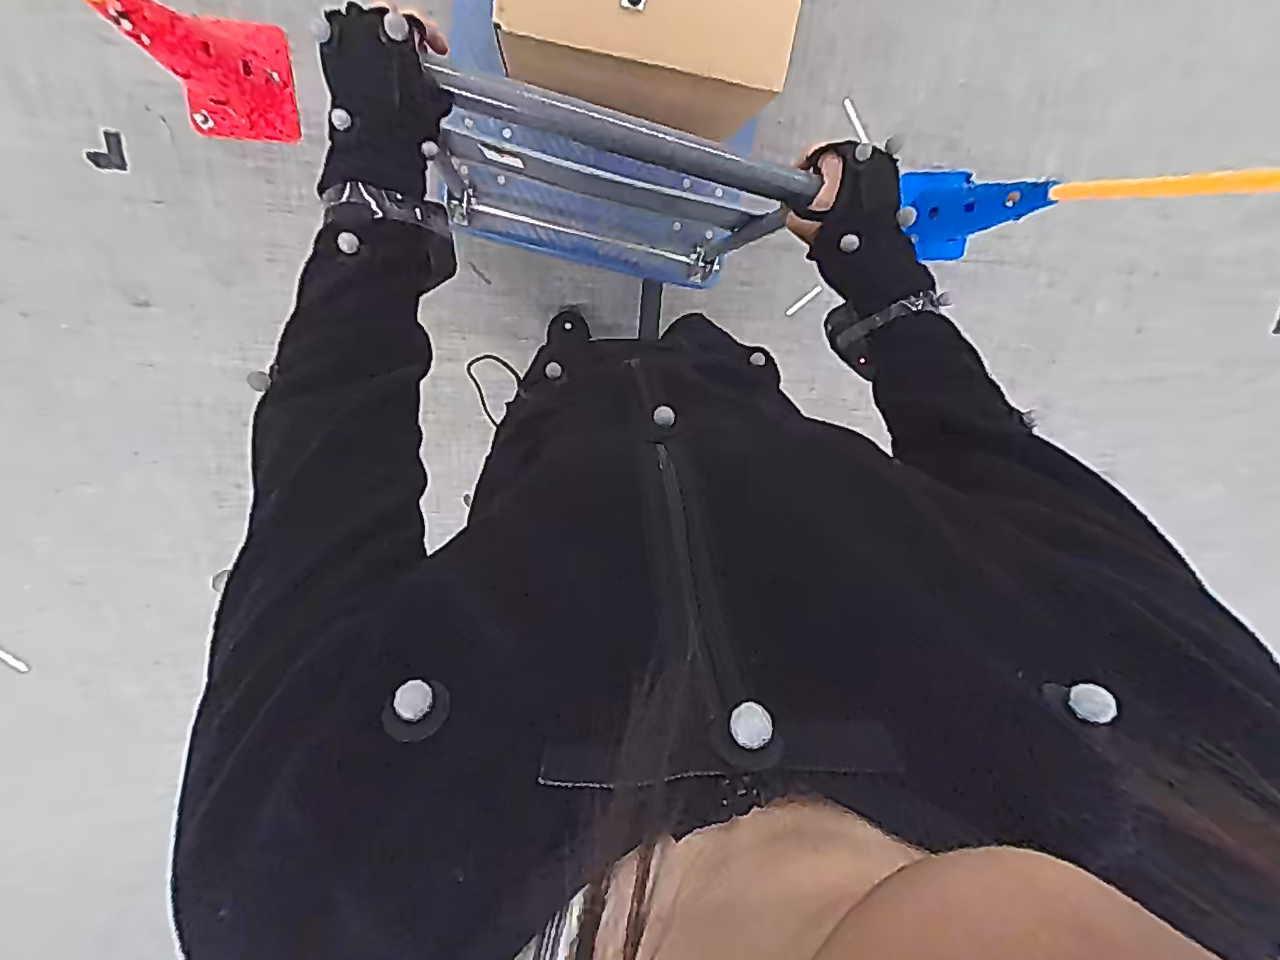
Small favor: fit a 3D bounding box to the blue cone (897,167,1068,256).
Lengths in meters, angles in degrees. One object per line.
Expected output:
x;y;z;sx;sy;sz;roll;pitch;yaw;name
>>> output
0.748;-0.603;1.173;0.193;0.380;0.192;-3;108;-8;blue cone
